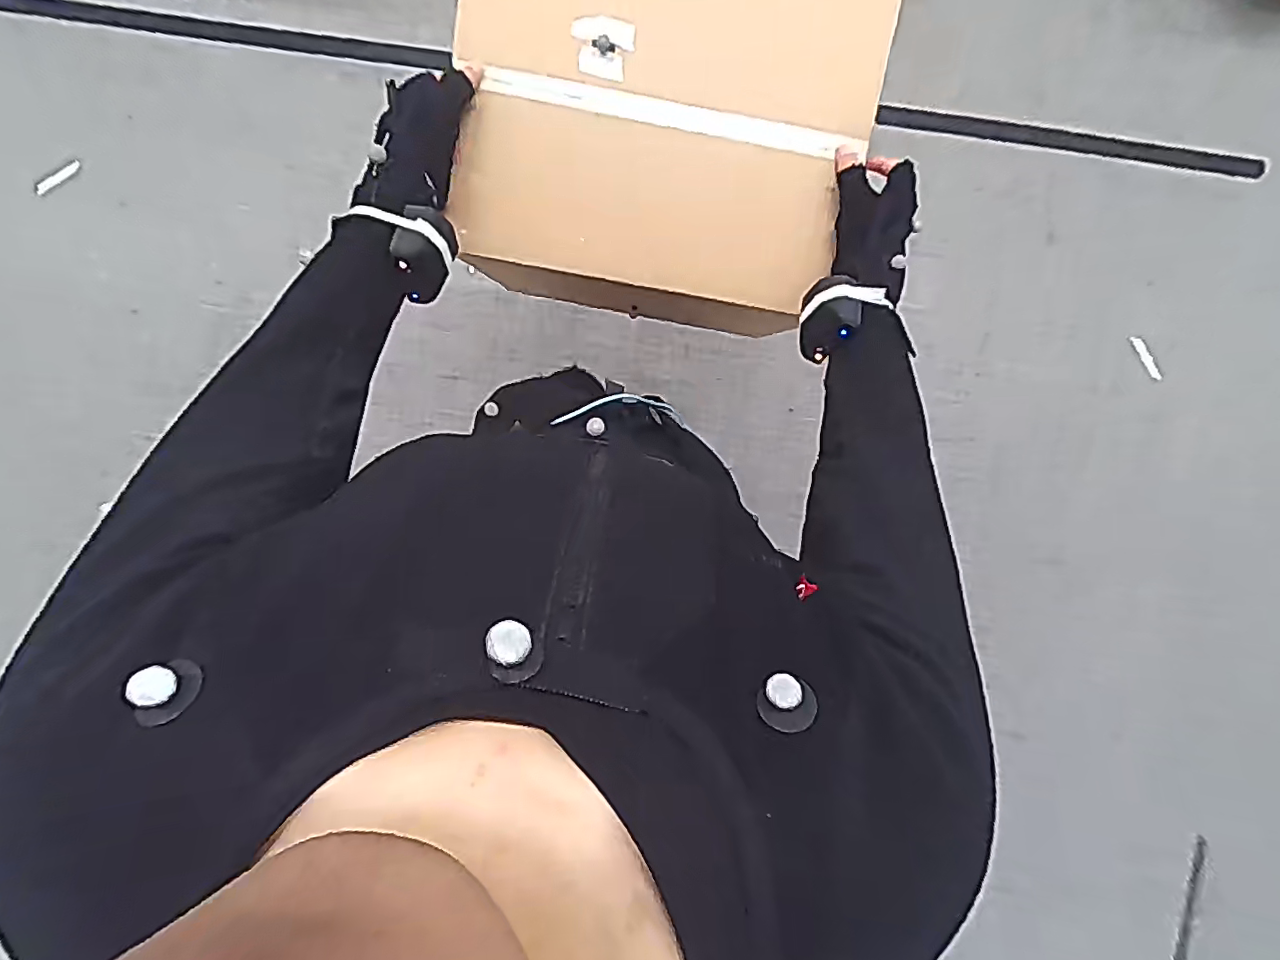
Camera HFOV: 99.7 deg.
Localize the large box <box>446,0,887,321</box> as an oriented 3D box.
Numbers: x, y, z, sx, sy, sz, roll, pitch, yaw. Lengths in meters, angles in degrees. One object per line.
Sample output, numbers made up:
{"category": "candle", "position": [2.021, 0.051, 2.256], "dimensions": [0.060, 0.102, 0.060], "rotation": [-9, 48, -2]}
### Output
{"category": "large box", "position": [0.021, -0.392, 0.674], "dimensions": [0.408, 0.320, 0.320], "rotation": [9, 101, -2]}
